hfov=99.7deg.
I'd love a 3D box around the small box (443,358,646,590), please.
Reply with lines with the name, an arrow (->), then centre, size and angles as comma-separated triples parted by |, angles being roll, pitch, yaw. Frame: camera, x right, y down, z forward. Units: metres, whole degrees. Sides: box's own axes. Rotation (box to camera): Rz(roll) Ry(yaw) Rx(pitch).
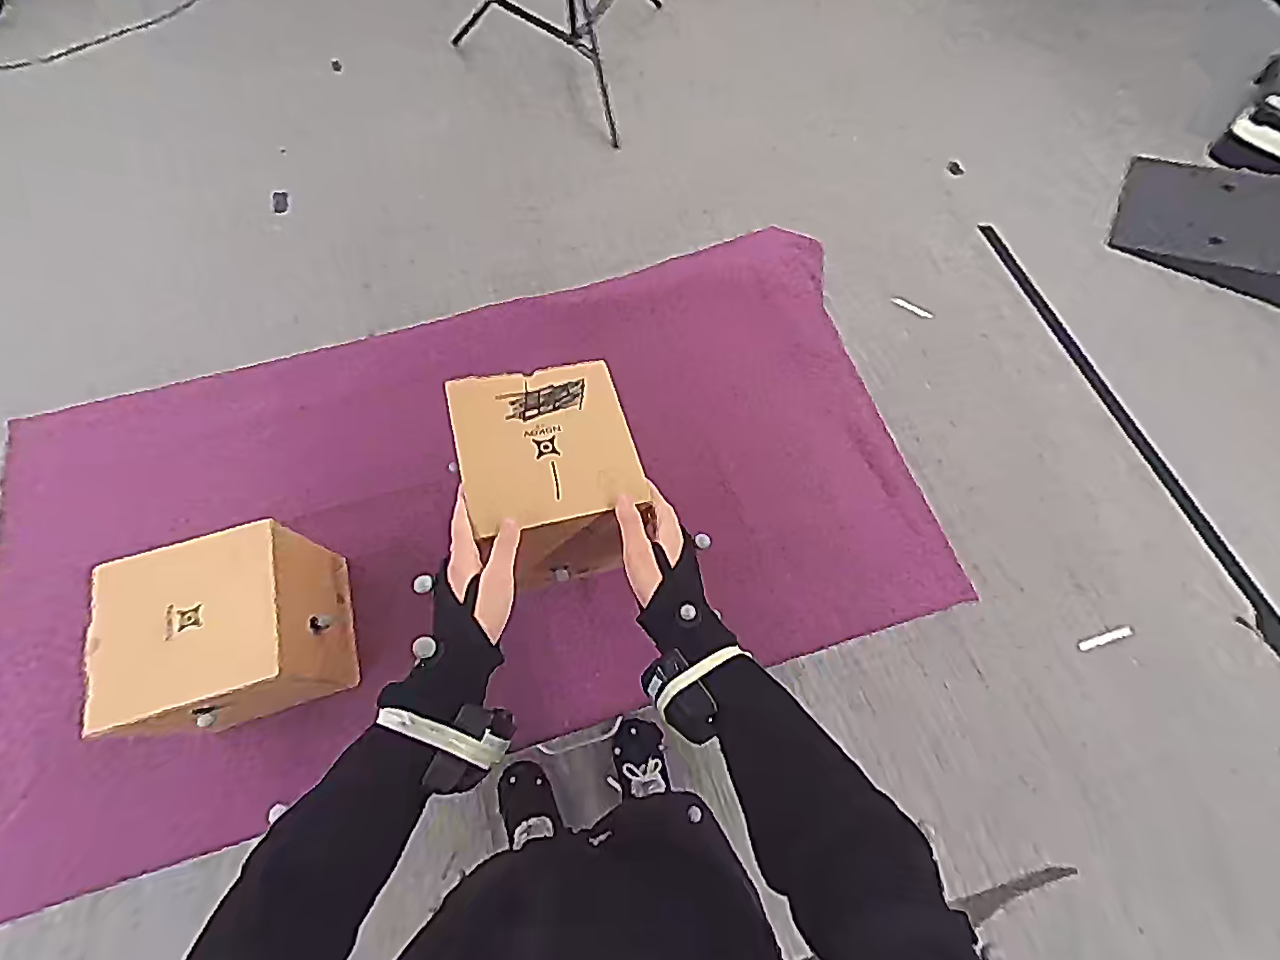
small box -> -0.106, -0.002, 0.582 | 0.168, 0.176, 0.179 | -12, 64, -15

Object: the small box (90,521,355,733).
small box -> -0.442, 0.166, 0.604 | 0.179, 0.176, 0.168 | -17, 69, -6
